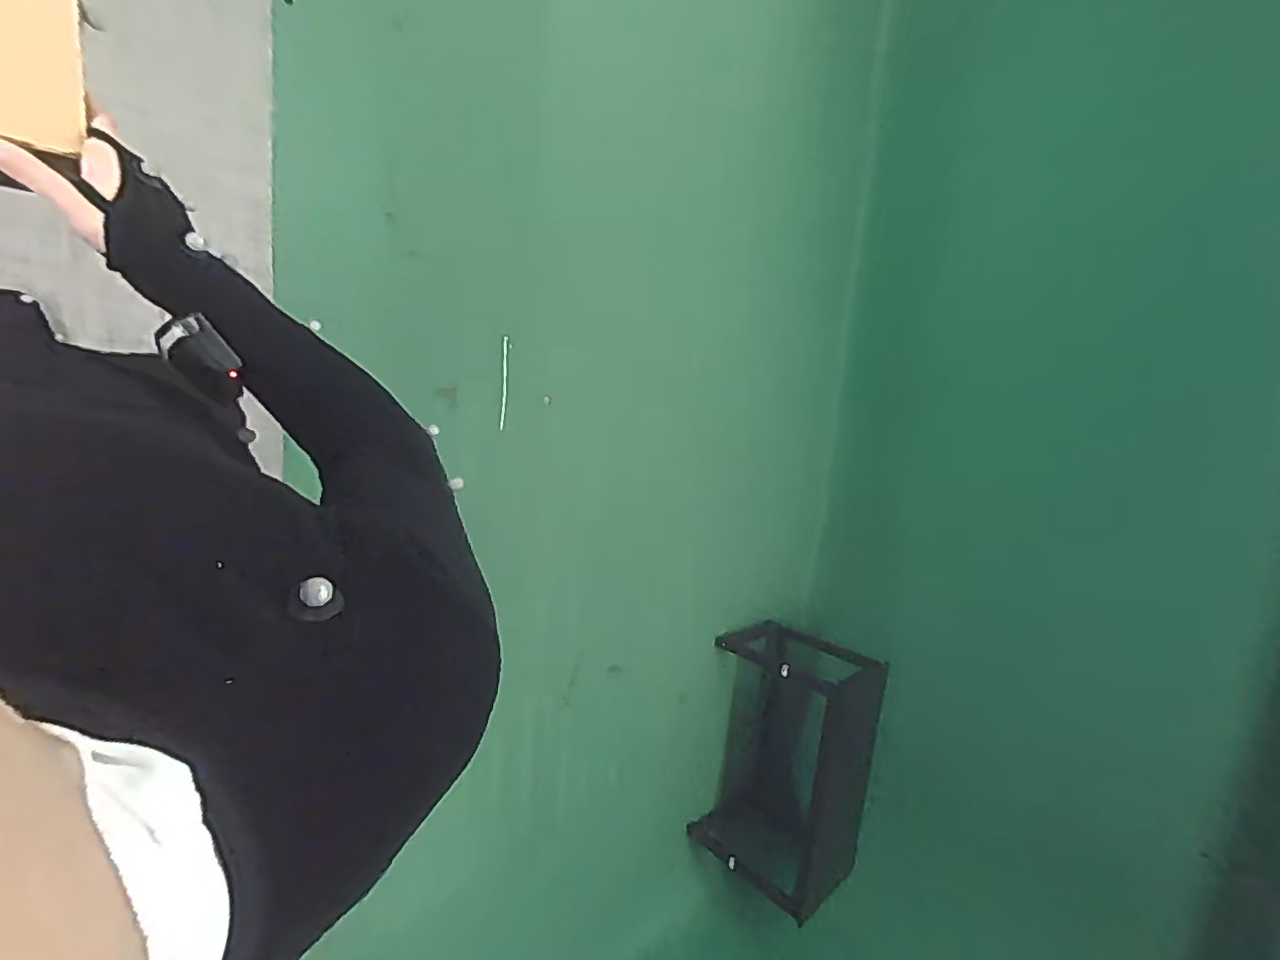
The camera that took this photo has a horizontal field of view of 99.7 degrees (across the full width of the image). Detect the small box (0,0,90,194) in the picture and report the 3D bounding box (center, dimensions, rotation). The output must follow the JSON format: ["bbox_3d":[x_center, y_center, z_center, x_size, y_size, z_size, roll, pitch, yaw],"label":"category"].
[{"bbox_3d":[-0.562,-0.358,0.430,0.168,0.176,0.179,-5,102,-45],"label":"small box"}]
